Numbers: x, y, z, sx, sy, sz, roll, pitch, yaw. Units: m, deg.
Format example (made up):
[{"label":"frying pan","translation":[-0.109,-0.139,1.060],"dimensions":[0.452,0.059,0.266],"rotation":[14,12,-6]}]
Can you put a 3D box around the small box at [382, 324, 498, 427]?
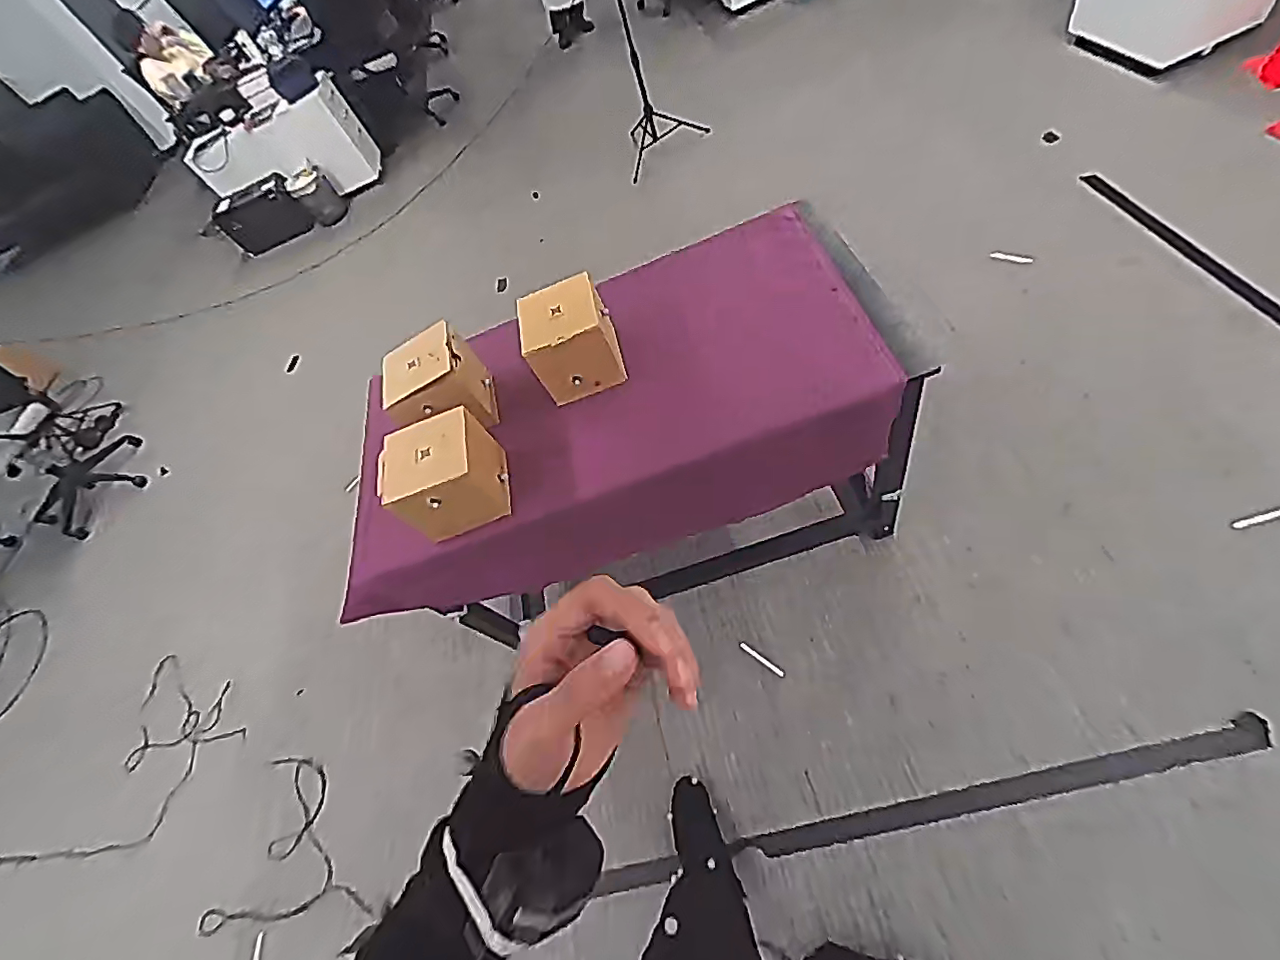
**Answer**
[{"label":"small box","translation":[-0.439,-0.203,1.195],"dimensions":[0.179,0.176,0.168],"rotation":[-21,56,6]}]

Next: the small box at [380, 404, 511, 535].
[{"label":"small box","translation":[-0.375,-0.013,1.059],"dimensions":[0.179,0.176,0.168],"rotation":[-20,56,7]}]
